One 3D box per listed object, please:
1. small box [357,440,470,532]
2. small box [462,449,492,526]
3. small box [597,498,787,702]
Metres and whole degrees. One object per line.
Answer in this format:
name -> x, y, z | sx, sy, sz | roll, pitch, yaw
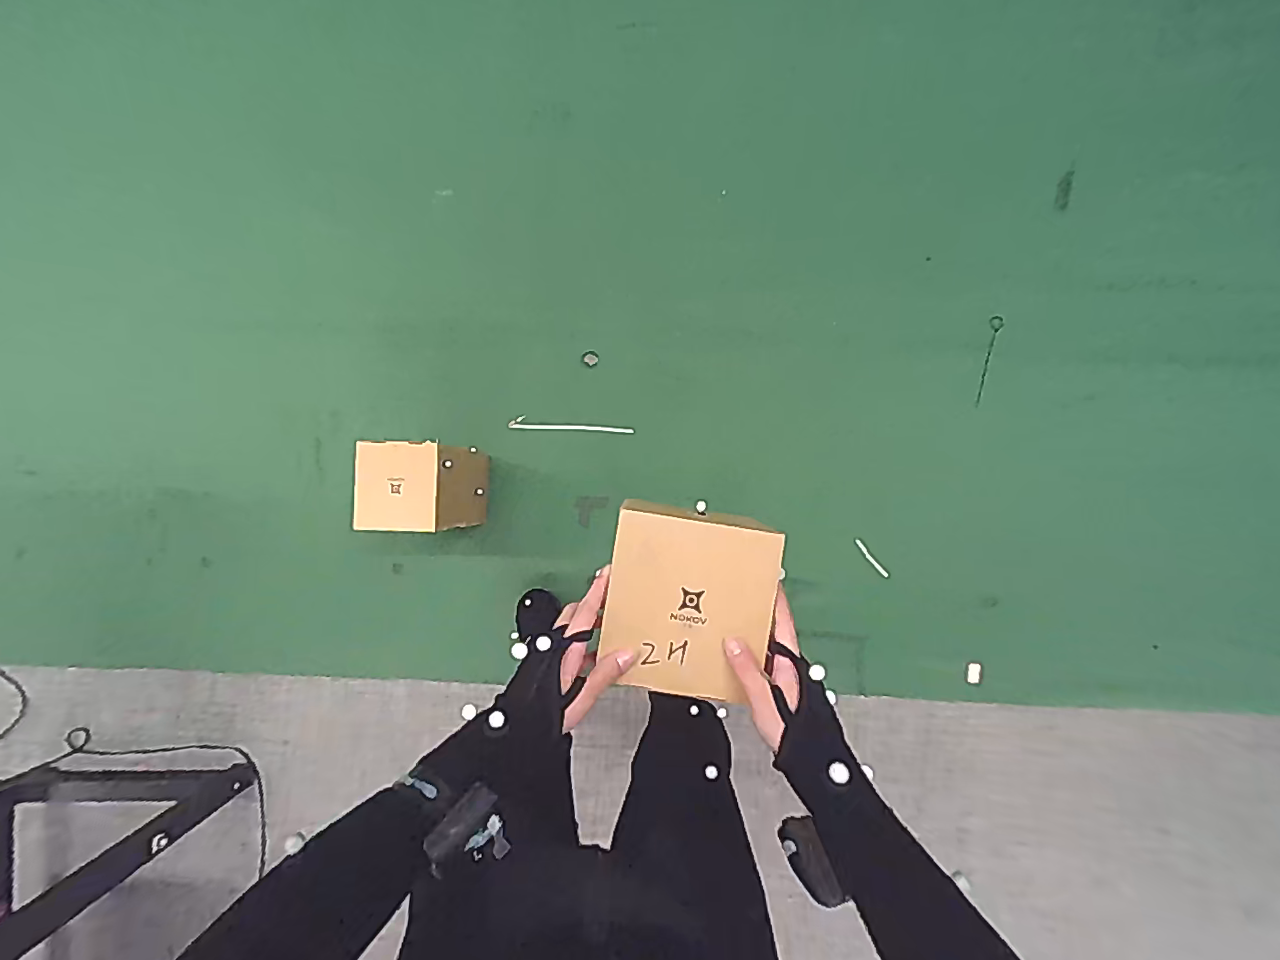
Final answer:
small box -> -0.465, 0.013, 1.132 | 0.168, 0.176, 0.179 | 1, 88, 3
small box -> -0.462, 0.017, 1.294 | 0.168, 0.176, 0.179 | 2, 89, 3
small box -> 0.051, 0.119, 0.612 | 0.168, 0.176, 0.179 | 9, 92, 0
